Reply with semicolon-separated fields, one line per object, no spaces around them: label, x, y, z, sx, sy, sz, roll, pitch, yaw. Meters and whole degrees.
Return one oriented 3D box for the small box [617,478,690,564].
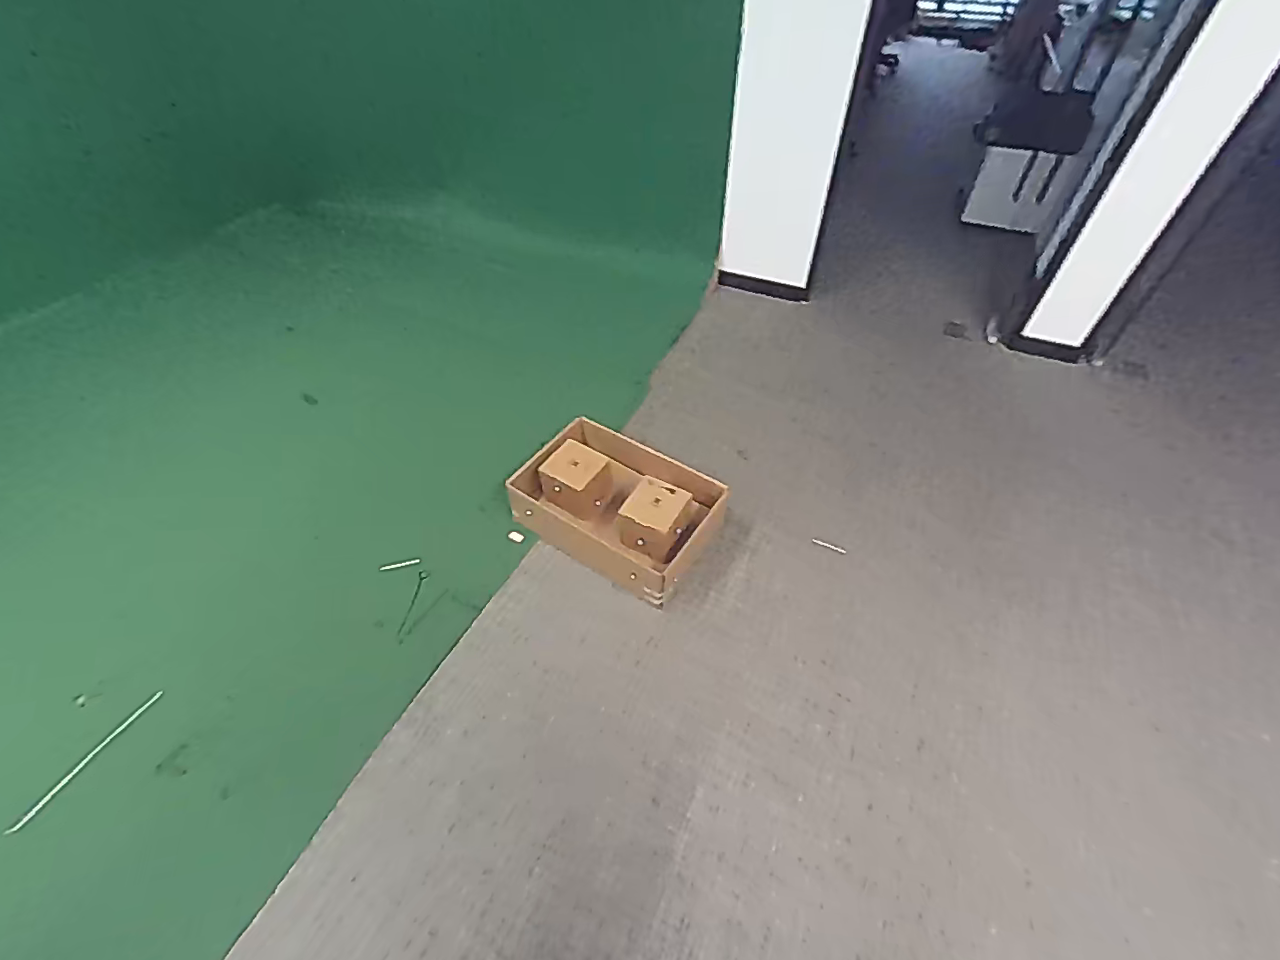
small box;0.045;0.133;1.694;0.168;0.176;0.179;24;54;20
